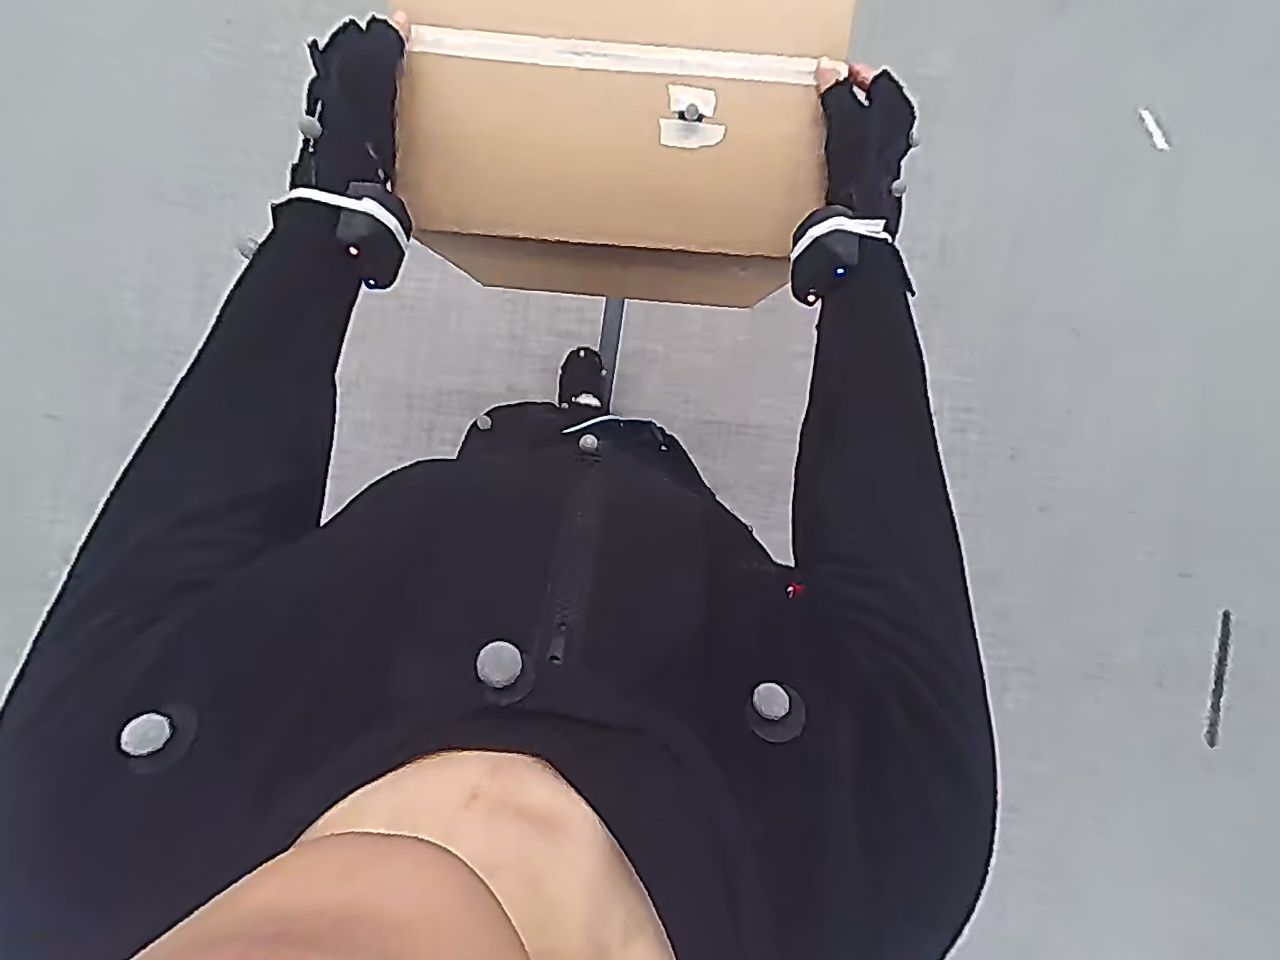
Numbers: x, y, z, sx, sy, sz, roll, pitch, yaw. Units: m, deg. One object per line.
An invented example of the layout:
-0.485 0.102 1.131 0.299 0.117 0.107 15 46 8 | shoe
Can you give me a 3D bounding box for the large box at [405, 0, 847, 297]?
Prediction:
-0.019 -0.410 0.640 0.408 0.320 0.320 3 100 -2 | large box
